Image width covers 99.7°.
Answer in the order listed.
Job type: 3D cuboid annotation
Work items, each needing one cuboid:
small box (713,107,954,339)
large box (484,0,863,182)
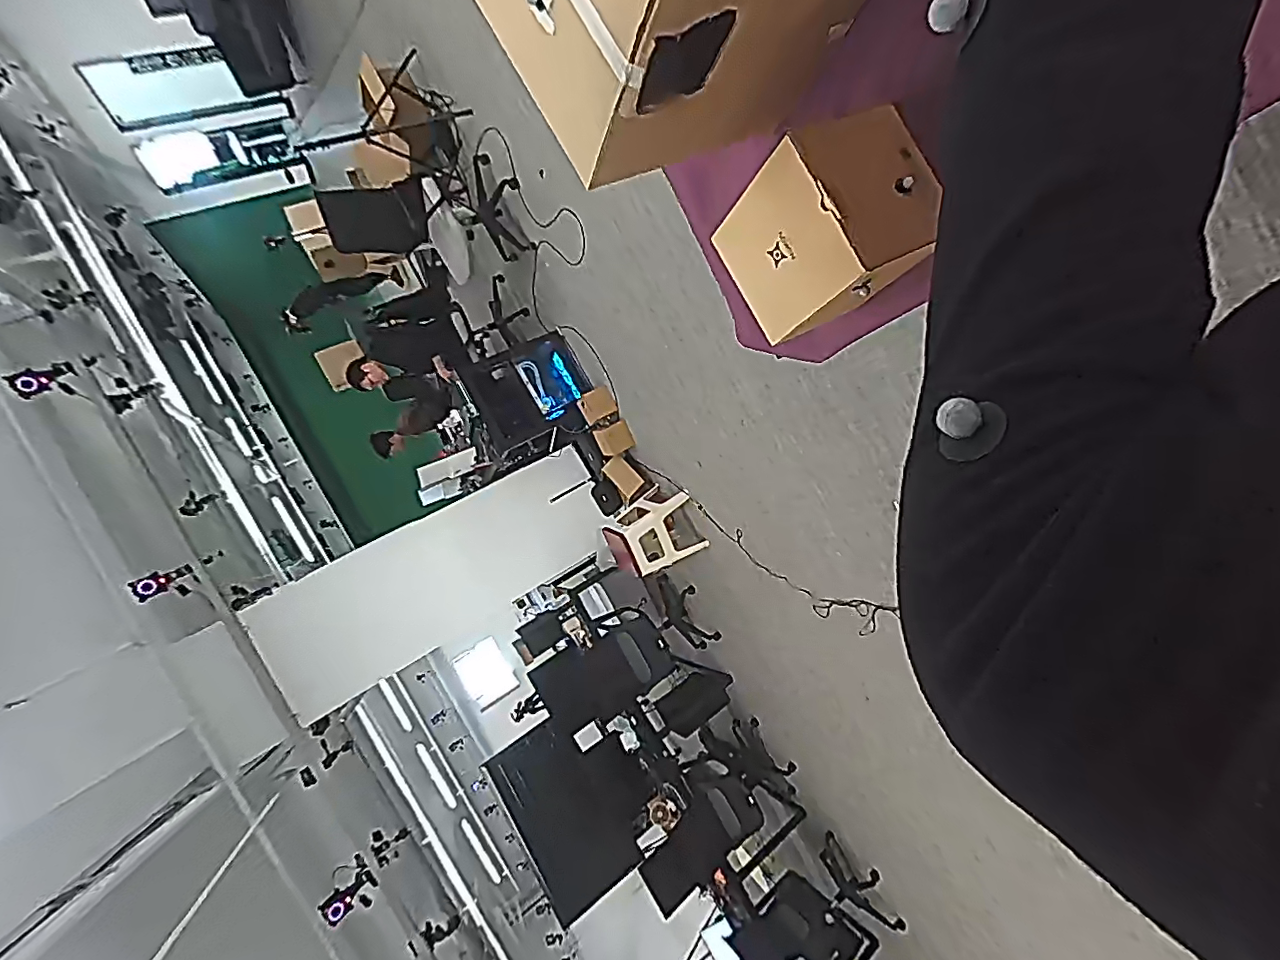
[{"bbox_3d":[0.226,-0.302,0.652,0.168,0.176,0.179,60,157,2],"label":"small box"},{"bbox_3d":[0.016,-0.610,0.539,0.408,0.320,0.320,58,159,0],"label":"large box"}]
